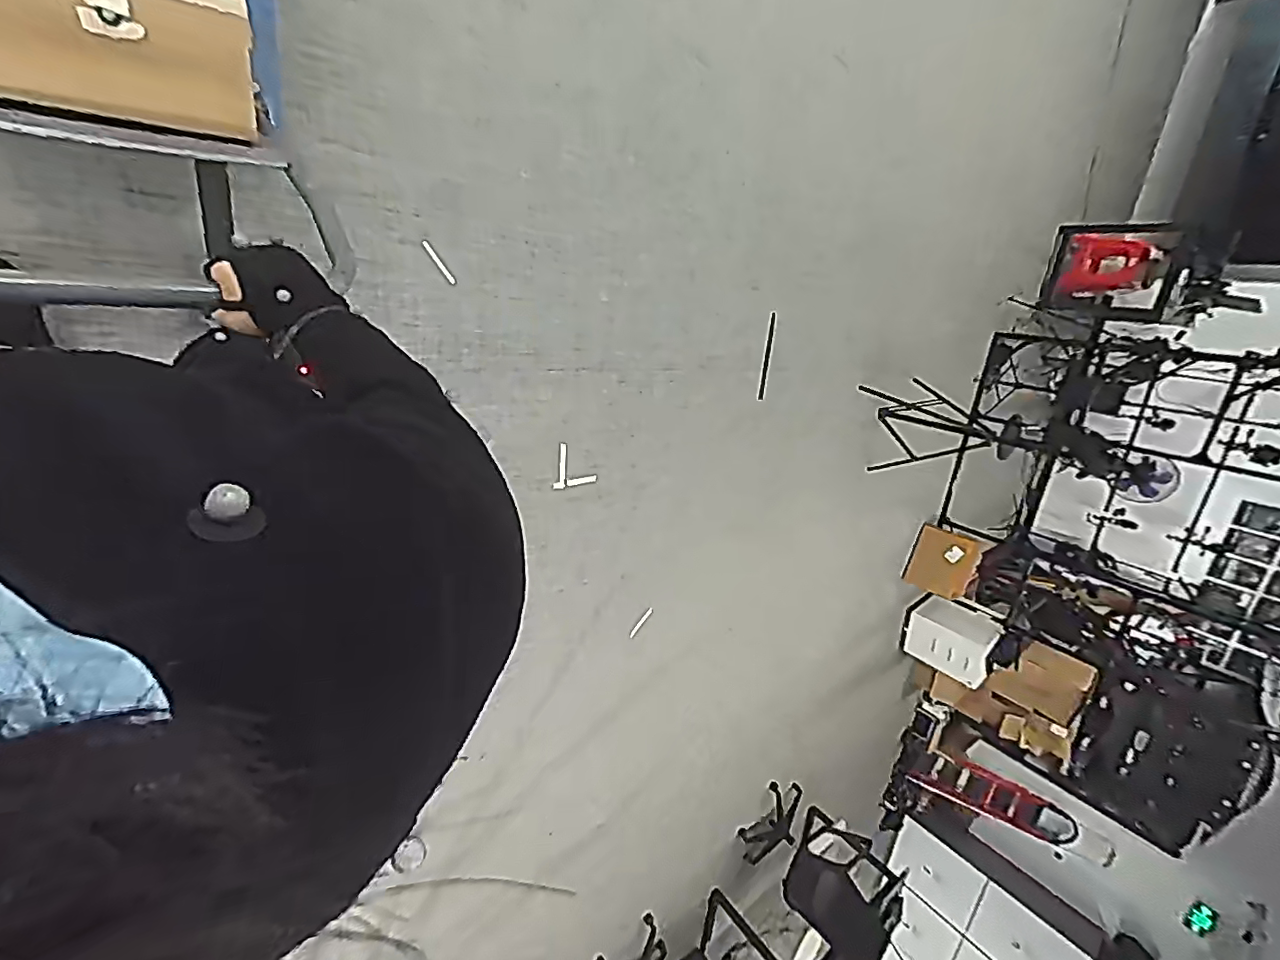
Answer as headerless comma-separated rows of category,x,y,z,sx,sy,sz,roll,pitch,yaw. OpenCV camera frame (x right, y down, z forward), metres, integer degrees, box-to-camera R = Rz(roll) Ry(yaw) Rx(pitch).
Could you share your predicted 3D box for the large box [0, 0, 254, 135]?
large box,-0.769,-0.670,0.672,0.408,0.320,0.320,-13,134,-38
